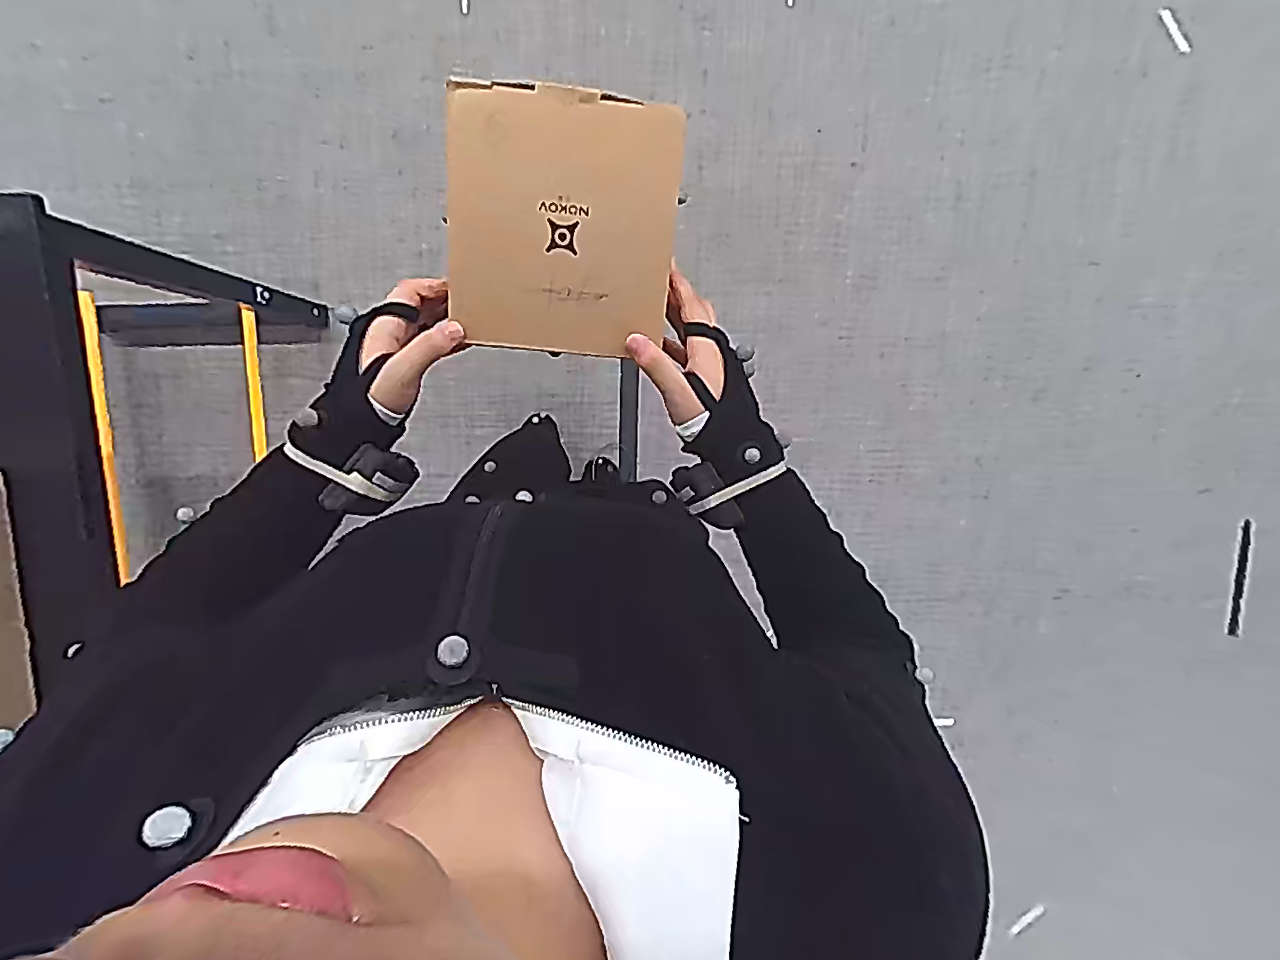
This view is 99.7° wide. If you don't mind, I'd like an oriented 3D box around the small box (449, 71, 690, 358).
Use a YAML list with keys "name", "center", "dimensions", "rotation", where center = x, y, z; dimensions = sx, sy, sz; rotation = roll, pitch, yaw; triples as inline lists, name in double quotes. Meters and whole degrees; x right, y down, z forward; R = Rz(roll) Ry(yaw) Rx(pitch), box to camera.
- name: "small box"
  center: [-0.060, -0.208, 0.466]
  dimensions: [0.168, 0.176, 0.179]
  rotation: [4, 109, -5]
